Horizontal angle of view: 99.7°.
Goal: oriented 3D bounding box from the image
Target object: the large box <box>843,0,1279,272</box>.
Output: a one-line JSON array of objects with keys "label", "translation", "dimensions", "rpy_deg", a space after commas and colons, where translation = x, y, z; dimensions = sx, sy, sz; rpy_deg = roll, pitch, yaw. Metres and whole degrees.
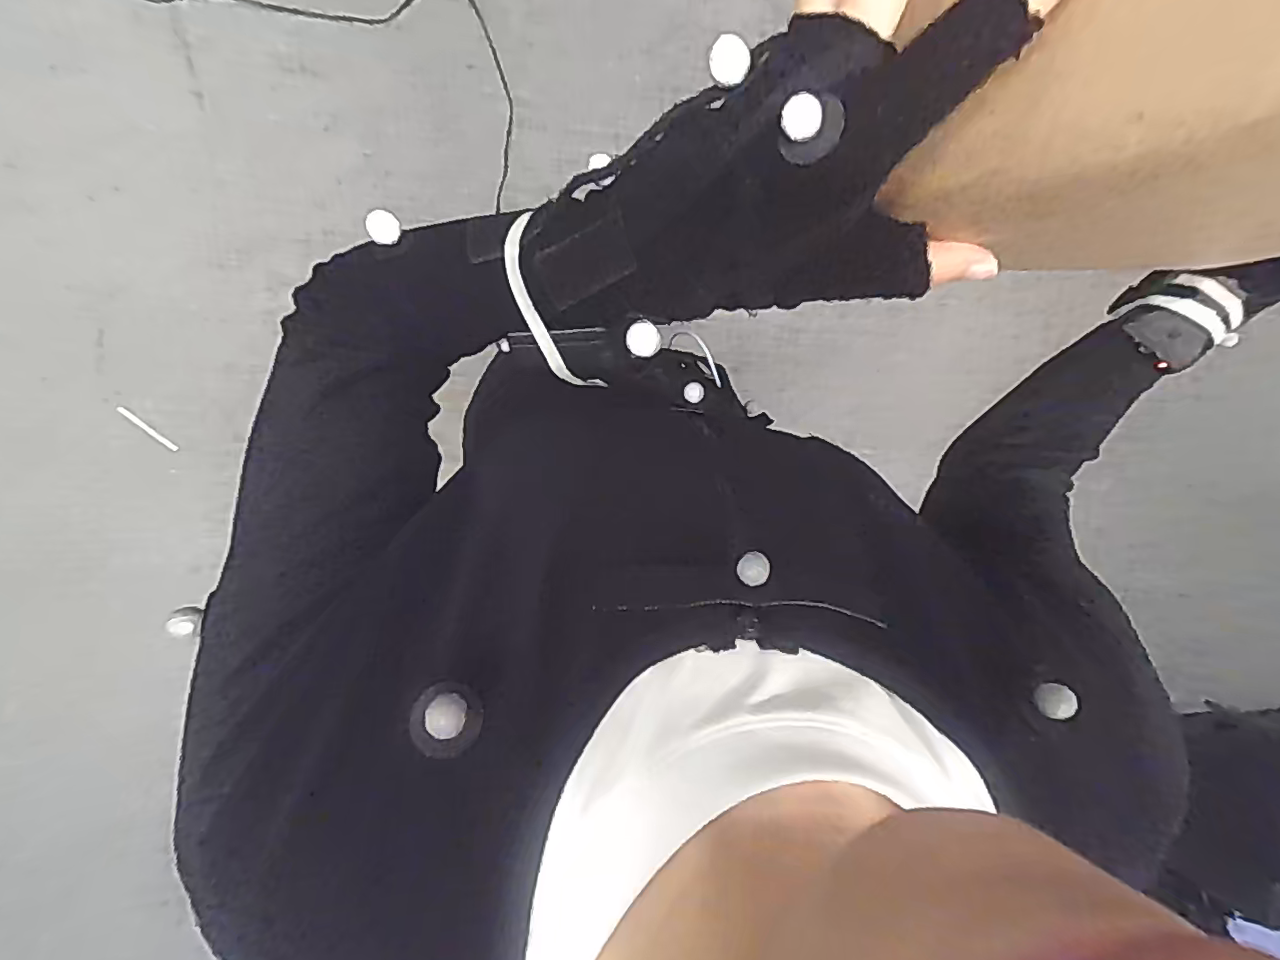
[{"label": "large box", "translation": [0.322, -0.270, 0.183], "dimensions": [0.408, 0.320, 0.320], "rpy_deg": [-12, 102, -27]}]
